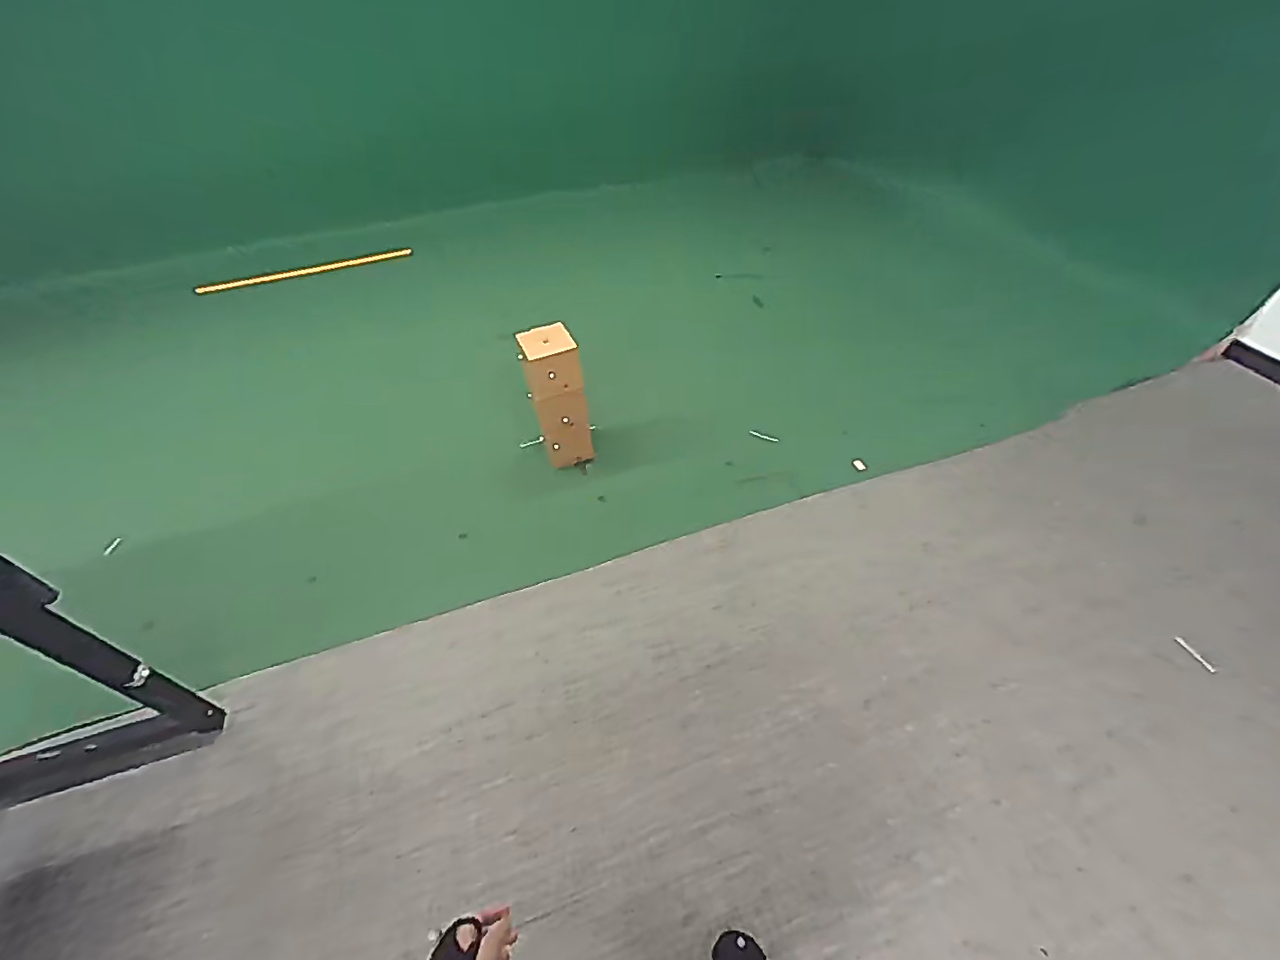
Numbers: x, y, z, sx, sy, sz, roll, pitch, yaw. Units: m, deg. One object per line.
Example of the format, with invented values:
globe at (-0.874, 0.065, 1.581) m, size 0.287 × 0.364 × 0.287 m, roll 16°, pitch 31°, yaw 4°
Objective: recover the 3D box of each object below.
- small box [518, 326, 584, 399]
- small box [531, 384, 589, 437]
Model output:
small box at (-0.301, -0.395, 1.855) m, size 0.168 × 0.176 × 0.179 m, roll -20°, pitch 48°, yaw -14°
small box at (-0.294, -0.287, 1.976) m, size 0.168 × 0.176 × 0.179 m, roll -18°, pitch 48°, yaw -12°
